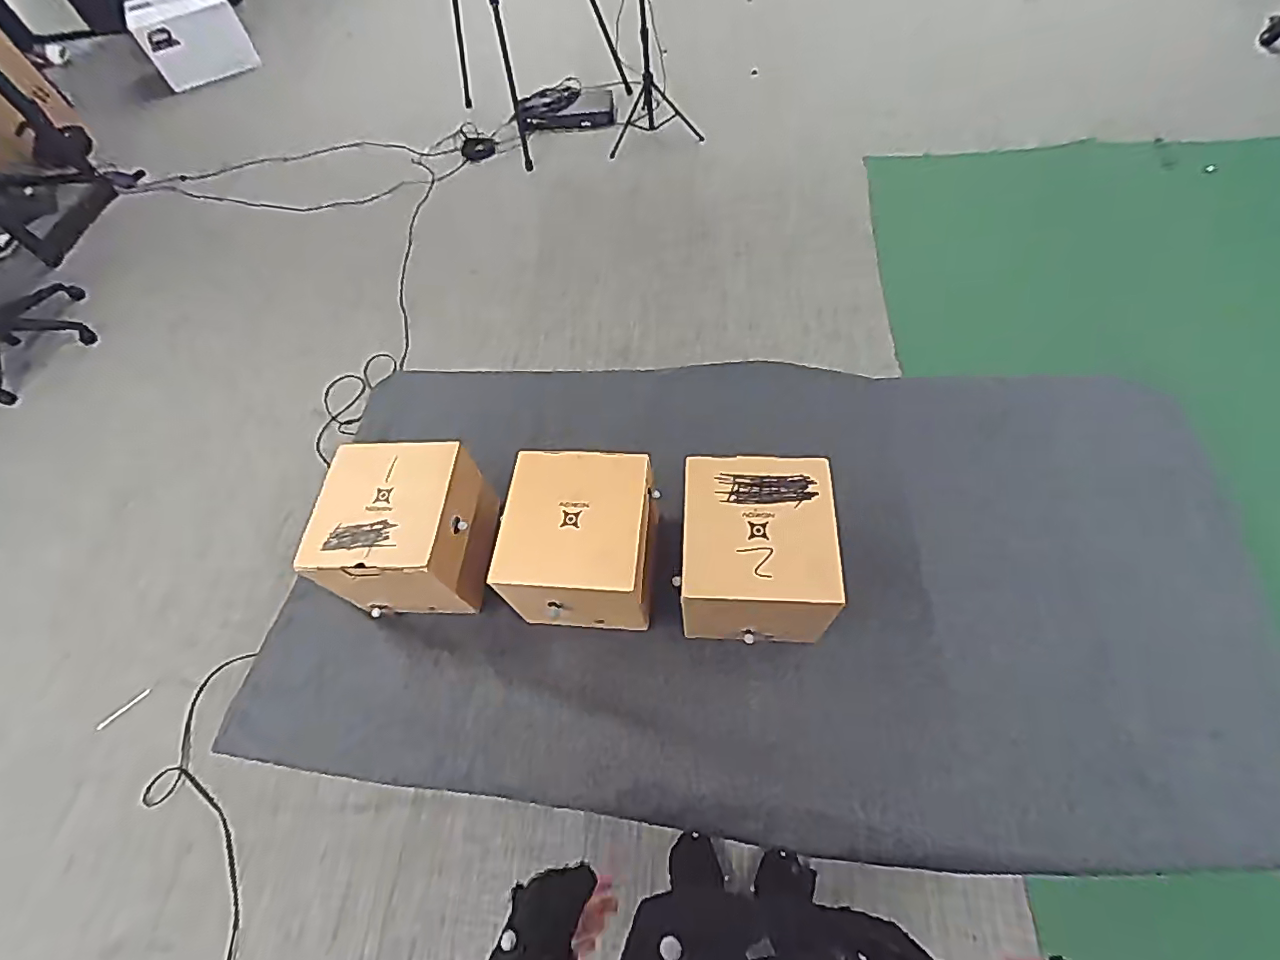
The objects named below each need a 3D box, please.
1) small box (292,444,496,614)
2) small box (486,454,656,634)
[{"bbox_3d":[-0.305,0.072,0.717,0.168,0.176,0.179,-1,58,6],"label":"small box"},{"bbox_3d":[-0.071,0.086,0.684,0.168,0.176,0.179,2,59,8],"label":"small box"}]
